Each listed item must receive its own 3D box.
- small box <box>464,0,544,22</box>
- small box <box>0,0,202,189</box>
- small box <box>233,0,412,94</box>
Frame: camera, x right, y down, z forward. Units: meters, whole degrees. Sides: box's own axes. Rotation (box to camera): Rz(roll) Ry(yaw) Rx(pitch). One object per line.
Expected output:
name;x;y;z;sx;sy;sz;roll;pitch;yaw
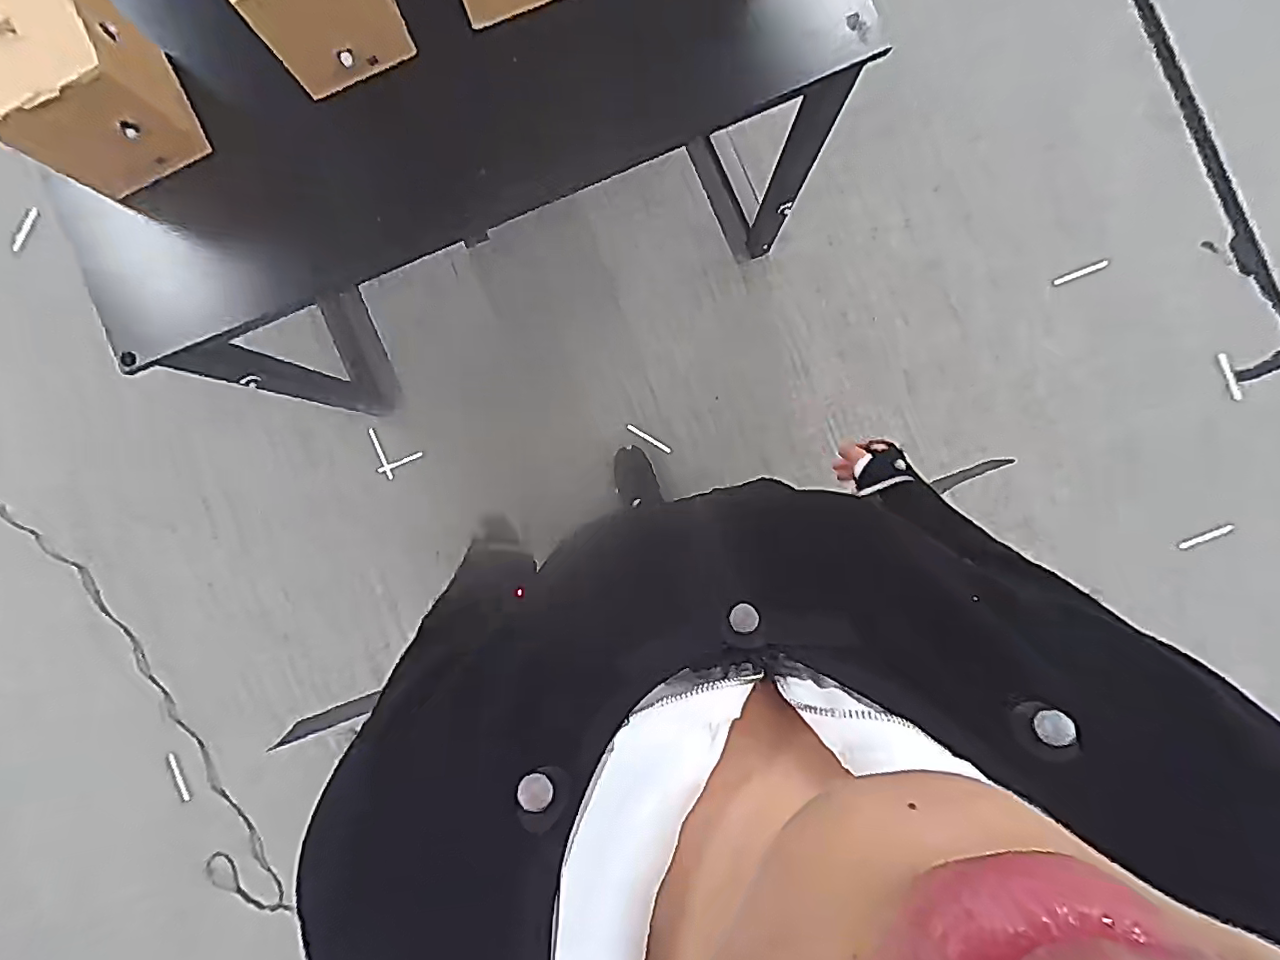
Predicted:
small box;-0.185;-0.750;0.692;0.179;0.176;0.168;-21;90;2
small box;-0.728;-0.513;0.697;0.168;0.176;0.179;-27;89;-1
small box;-0.428;-0.657;0.693;0.168;0.176;0.179;-24;90;1
